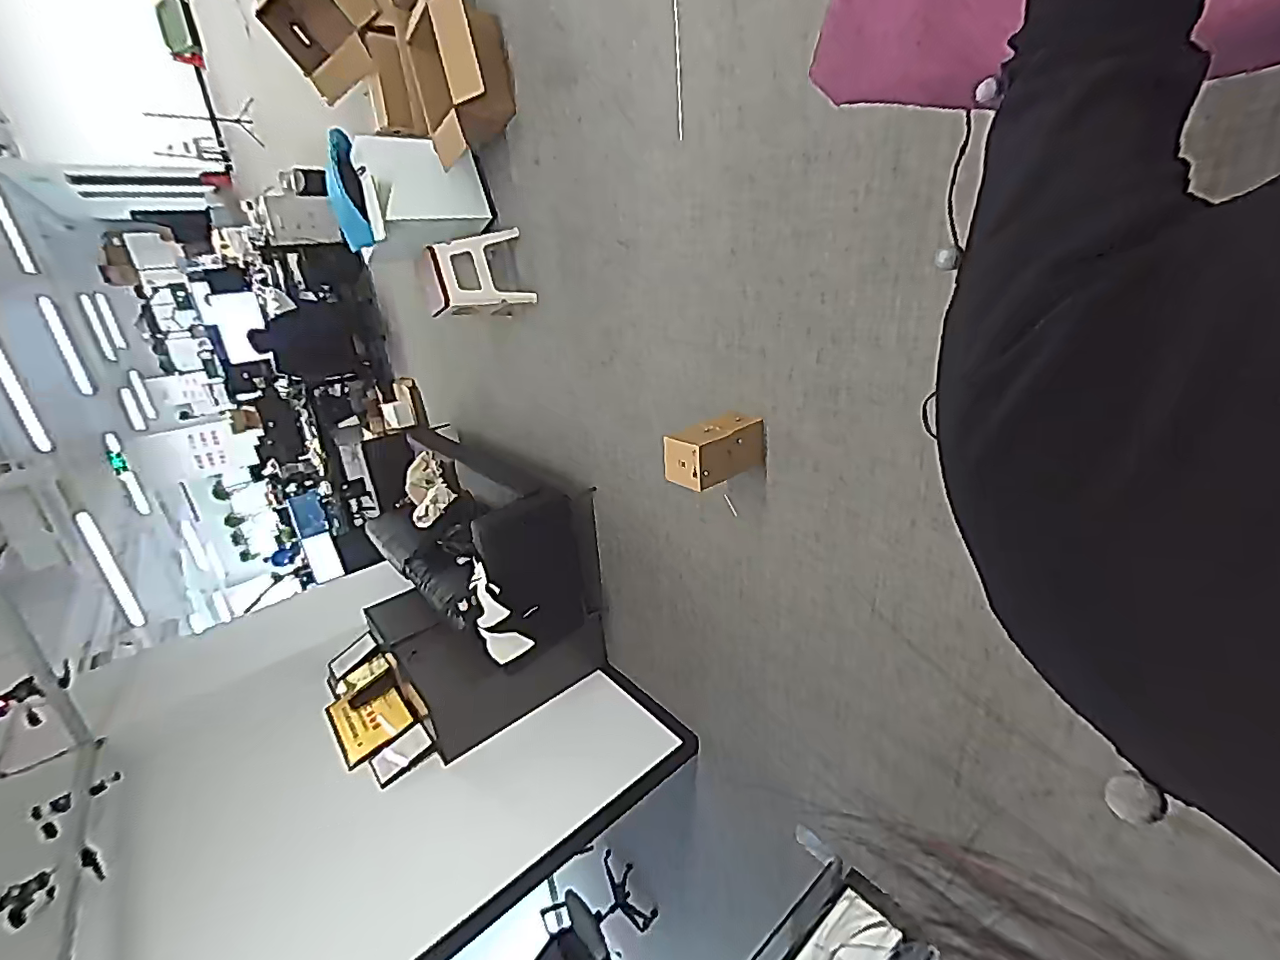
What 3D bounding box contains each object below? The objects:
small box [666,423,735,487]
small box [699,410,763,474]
[{"bbox_3d":[0.210,-0.094,1.880,0.179,0.176,0.168,23,125,47],"label":"small box"},{"bbox_3d":[0.335,-0.143,1.974,0.168,0.176,0.179,22,124,46],"label":"small box"}]
